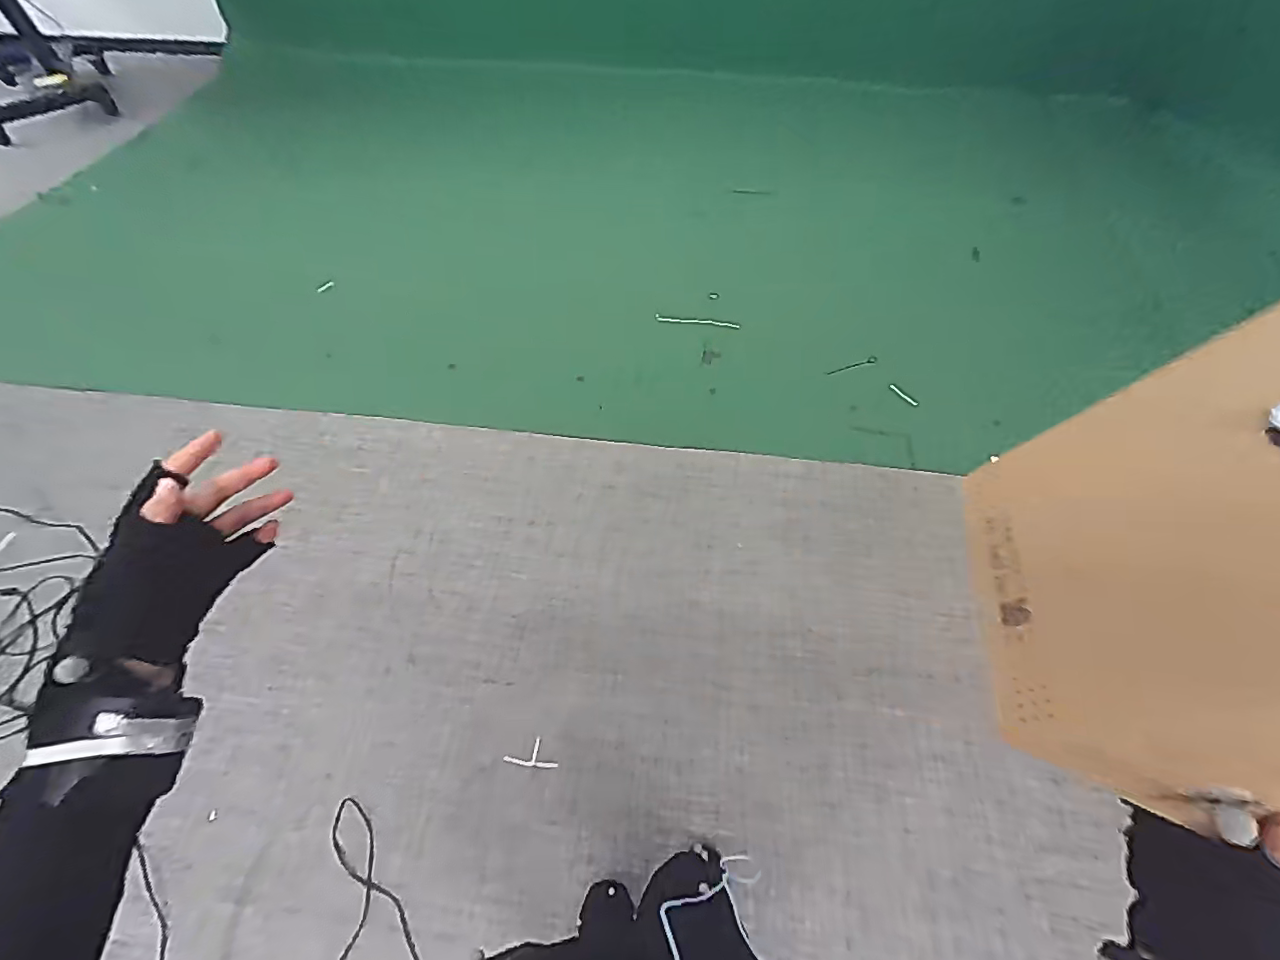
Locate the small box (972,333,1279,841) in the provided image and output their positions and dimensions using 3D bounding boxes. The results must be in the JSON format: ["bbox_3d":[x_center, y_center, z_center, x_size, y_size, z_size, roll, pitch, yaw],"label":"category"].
[{"bbox_3d":[0.300,0.060,0.258,0.179,0.176,0.168,28,52,-12],"label":"small box"}]
